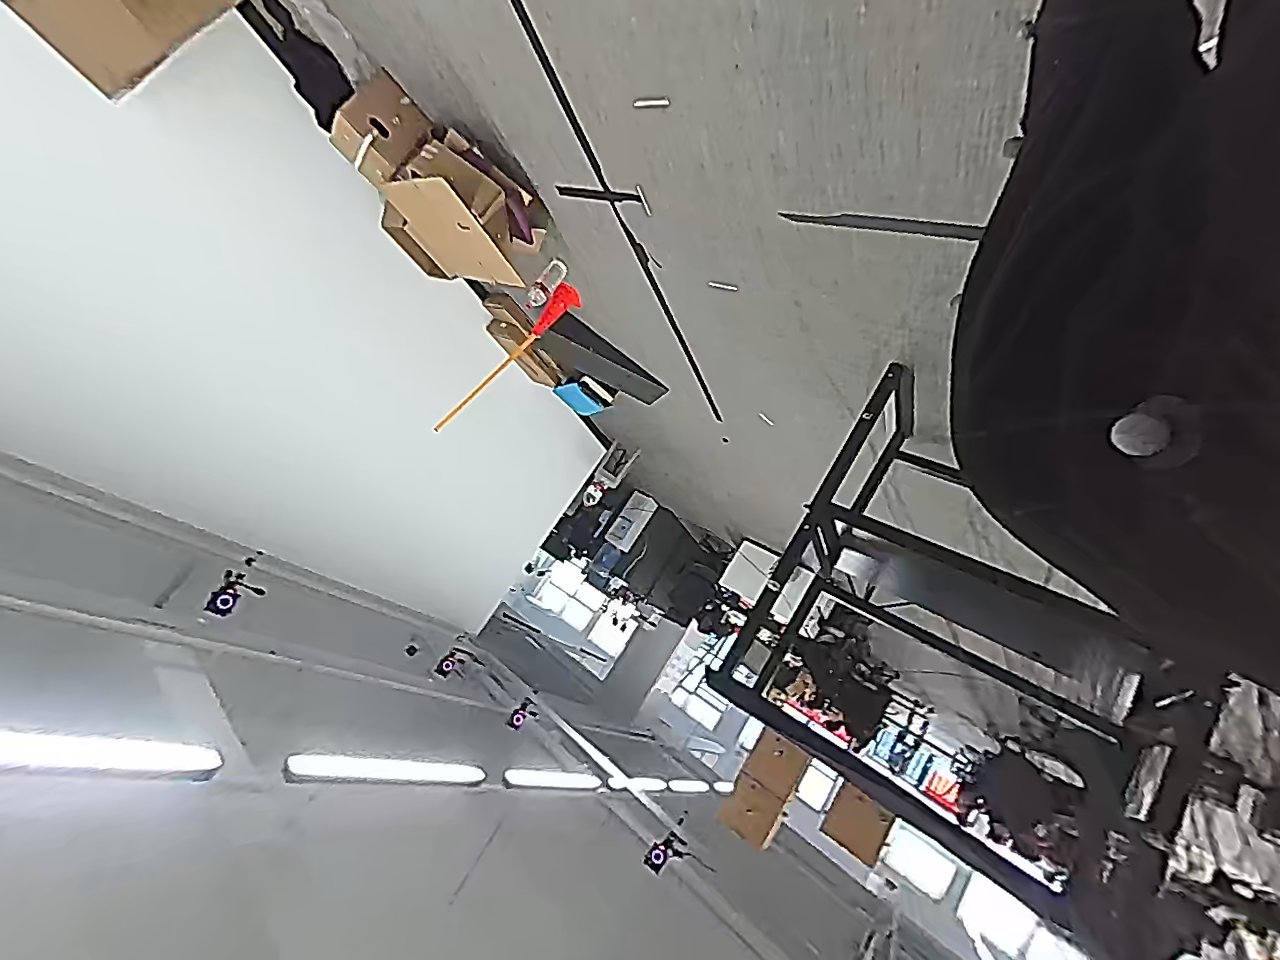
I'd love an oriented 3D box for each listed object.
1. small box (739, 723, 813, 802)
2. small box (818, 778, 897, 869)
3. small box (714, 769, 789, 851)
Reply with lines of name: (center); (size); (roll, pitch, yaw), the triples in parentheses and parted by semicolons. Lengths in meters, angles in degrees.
small box: (0.458, 0.933, 1.795); (0.168, 0.176, 0.179); (25, 166, 33)
small box: (0.663, 1.032, 1.641); (0.168, 0.176, 0.179); (26, 168, 34)
small box: (0.369, 1.067, 1.764); (0.168, 0.176, 0.179); (26, 166, 32)
